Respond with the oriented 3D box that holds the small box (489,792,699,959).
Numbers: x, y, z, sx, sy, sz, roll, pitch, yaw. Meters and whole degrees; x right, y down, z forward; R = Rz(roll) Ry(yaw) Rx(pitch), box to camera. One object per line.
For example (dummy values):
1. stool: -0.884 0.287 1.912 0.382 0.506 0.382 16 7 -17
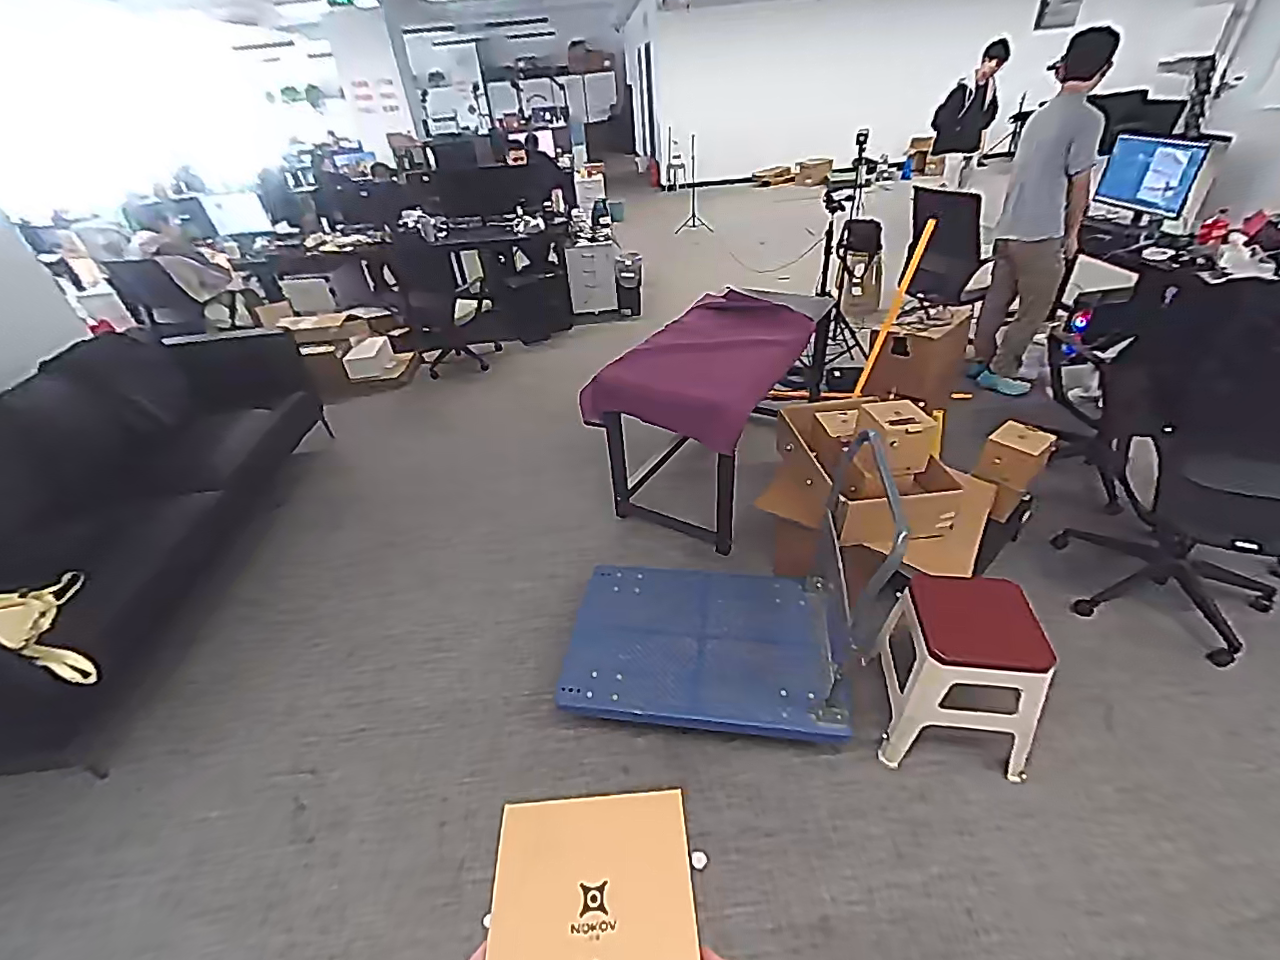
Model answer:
1. small box: -0.034 0.414 0.490 0.168 0.176 0.179 -4 38 0
